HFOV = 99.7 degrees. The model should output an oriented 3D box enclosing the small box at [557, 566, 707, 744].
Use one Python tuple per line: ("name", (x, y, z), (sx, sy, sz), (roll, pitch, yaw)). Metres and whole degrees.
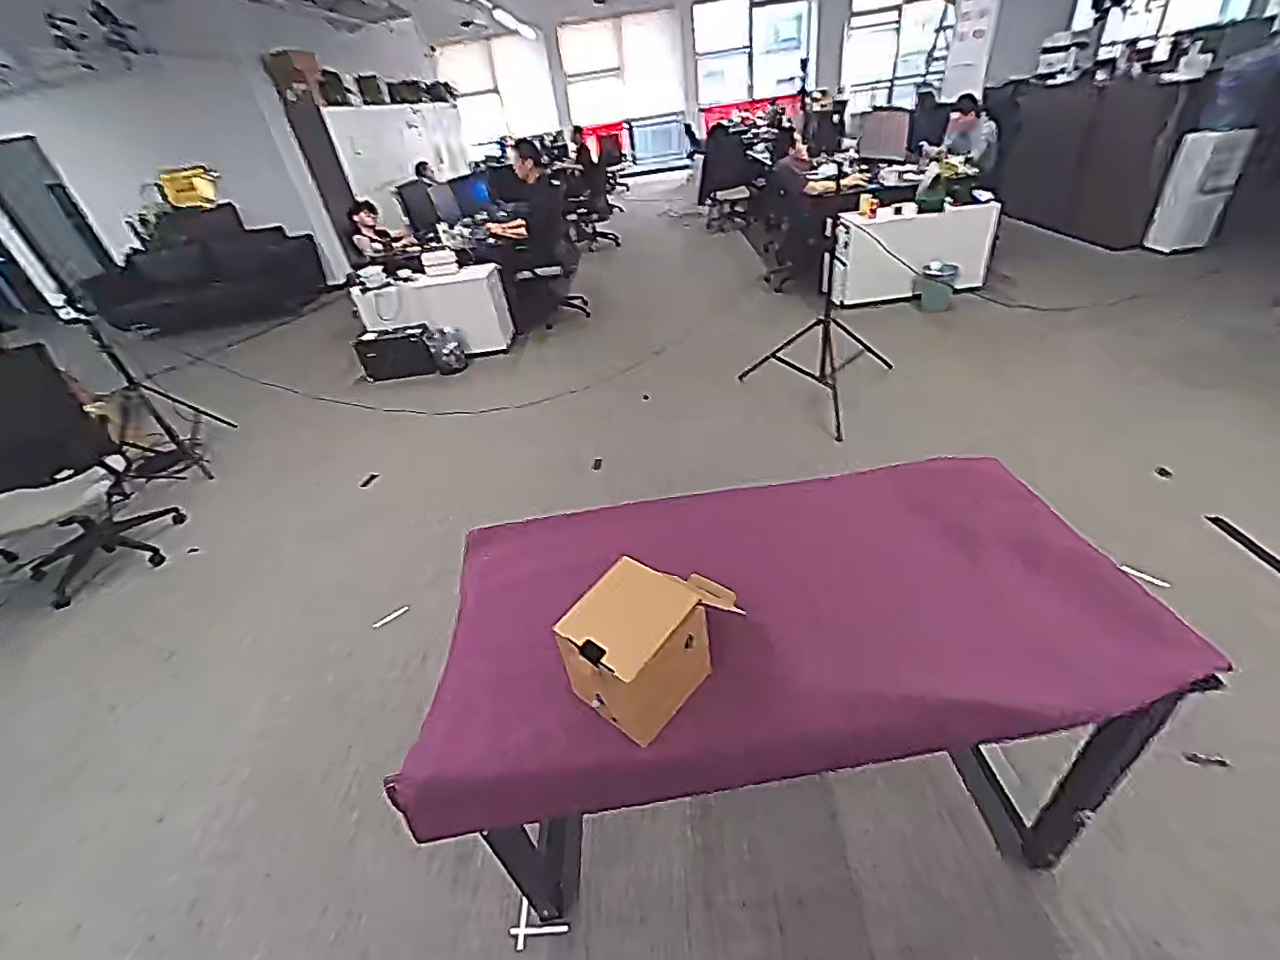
("small box", (-0.005, 0.278, 0.878), (0.168, 0.176, 0.179), (21, 45, 38))
